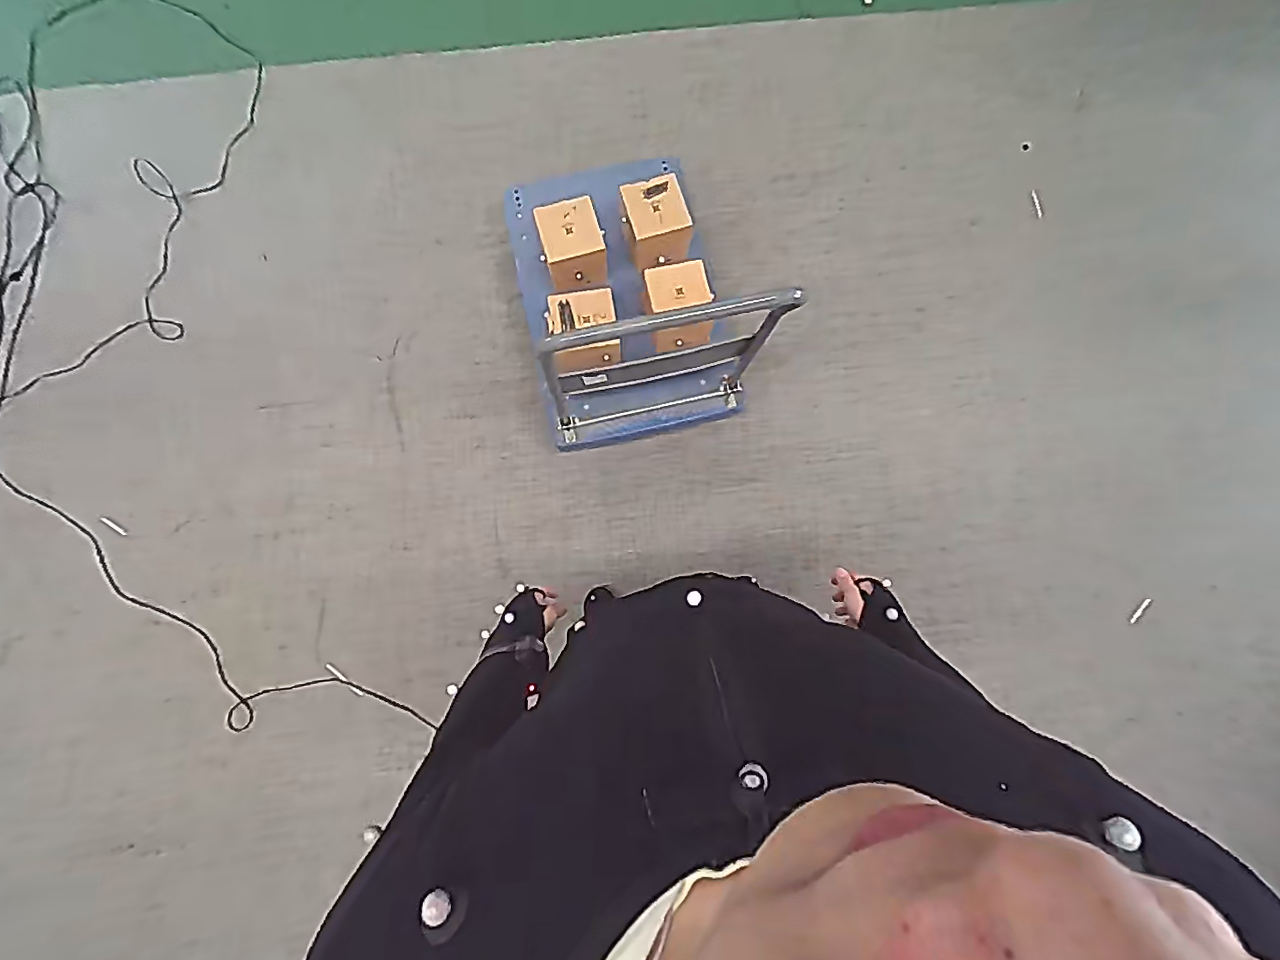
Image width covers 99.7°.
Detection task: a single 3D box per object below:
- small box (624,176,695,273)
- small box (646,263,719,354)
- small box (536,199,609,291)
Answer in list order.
[{"bbox_3d":[0.052,-0.744,1.587,0.168,0.176,0.179,-16,81,-3],"label":"small box"},{"bbox_3d":[0.114,-0.484,1.540,0.168,0.176,0.179,-12,80,-3],"label":"small box"},{"bbox_3d":[-0.190,-0.671,1.570,0.168,0.176,0.179,-16,80,-4],"label":"small box"}]
